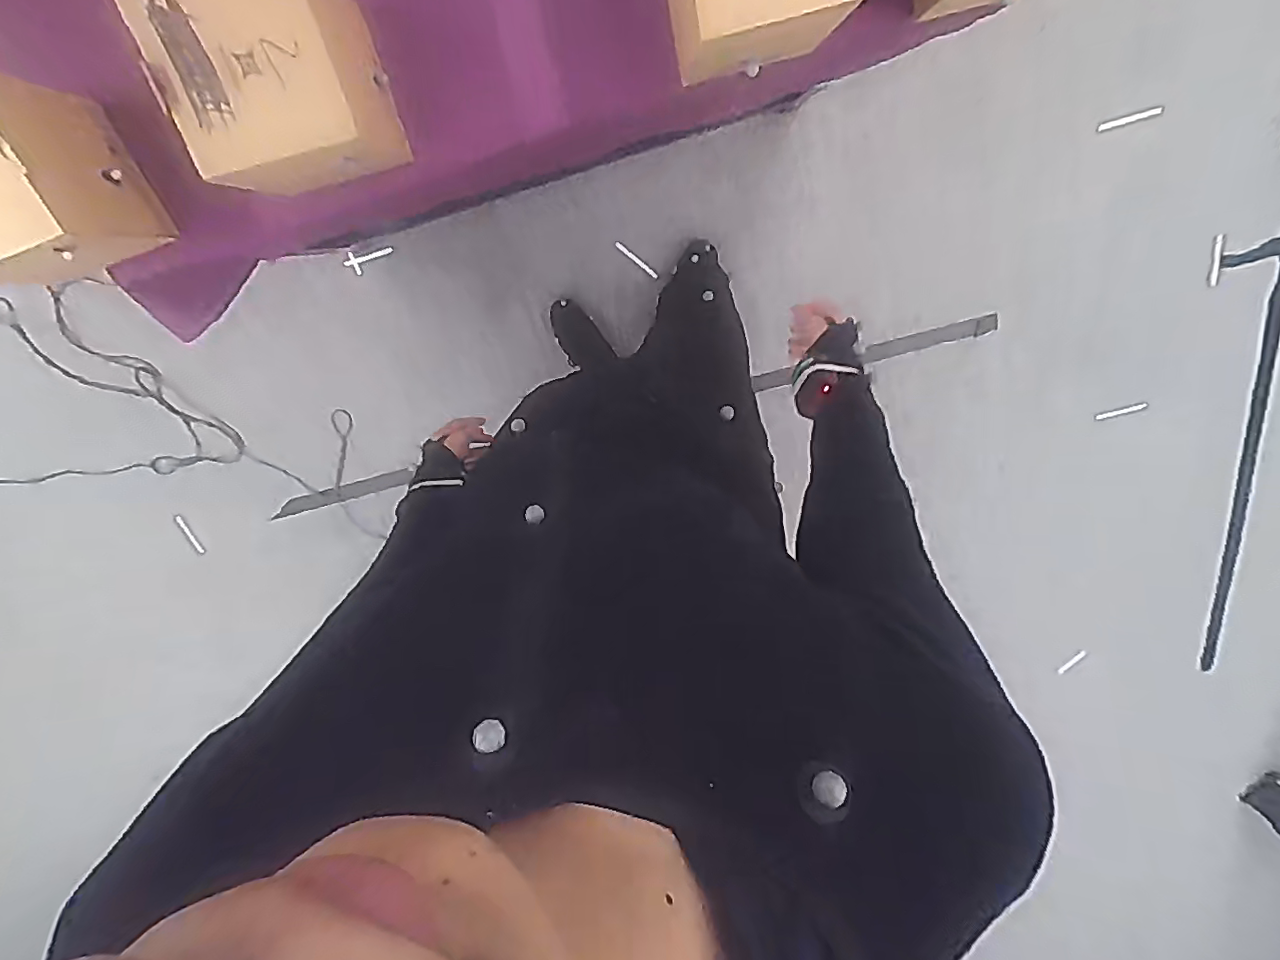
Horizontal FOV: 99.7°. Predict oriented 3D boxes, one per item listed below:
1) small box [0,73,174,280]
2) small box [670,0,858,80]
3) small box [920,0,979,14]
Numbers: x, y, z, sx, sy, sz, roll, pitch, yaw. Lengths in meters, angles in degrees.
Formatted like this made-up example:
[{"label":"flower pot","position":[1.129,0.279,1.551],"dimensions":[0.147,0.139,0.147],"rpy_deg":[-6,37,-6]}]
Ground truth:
[{"label":"small box","position":[-0.719,-0.339,0.629],"dimensions":[0.179,0.176,0.168],"rpy_deg":[-19,113,5]},{"label":"small box","position":[0.116,-0.556,0.559],"dimensions":[0.168,0.176,0.179],"rpy_deg":[-13,114,4]},{"label":"small box","position":[0.392,-0.620,0.538],"dimensions":[0.168,0.176,0.179],"rpy_deg":[-12,113,4]}]
